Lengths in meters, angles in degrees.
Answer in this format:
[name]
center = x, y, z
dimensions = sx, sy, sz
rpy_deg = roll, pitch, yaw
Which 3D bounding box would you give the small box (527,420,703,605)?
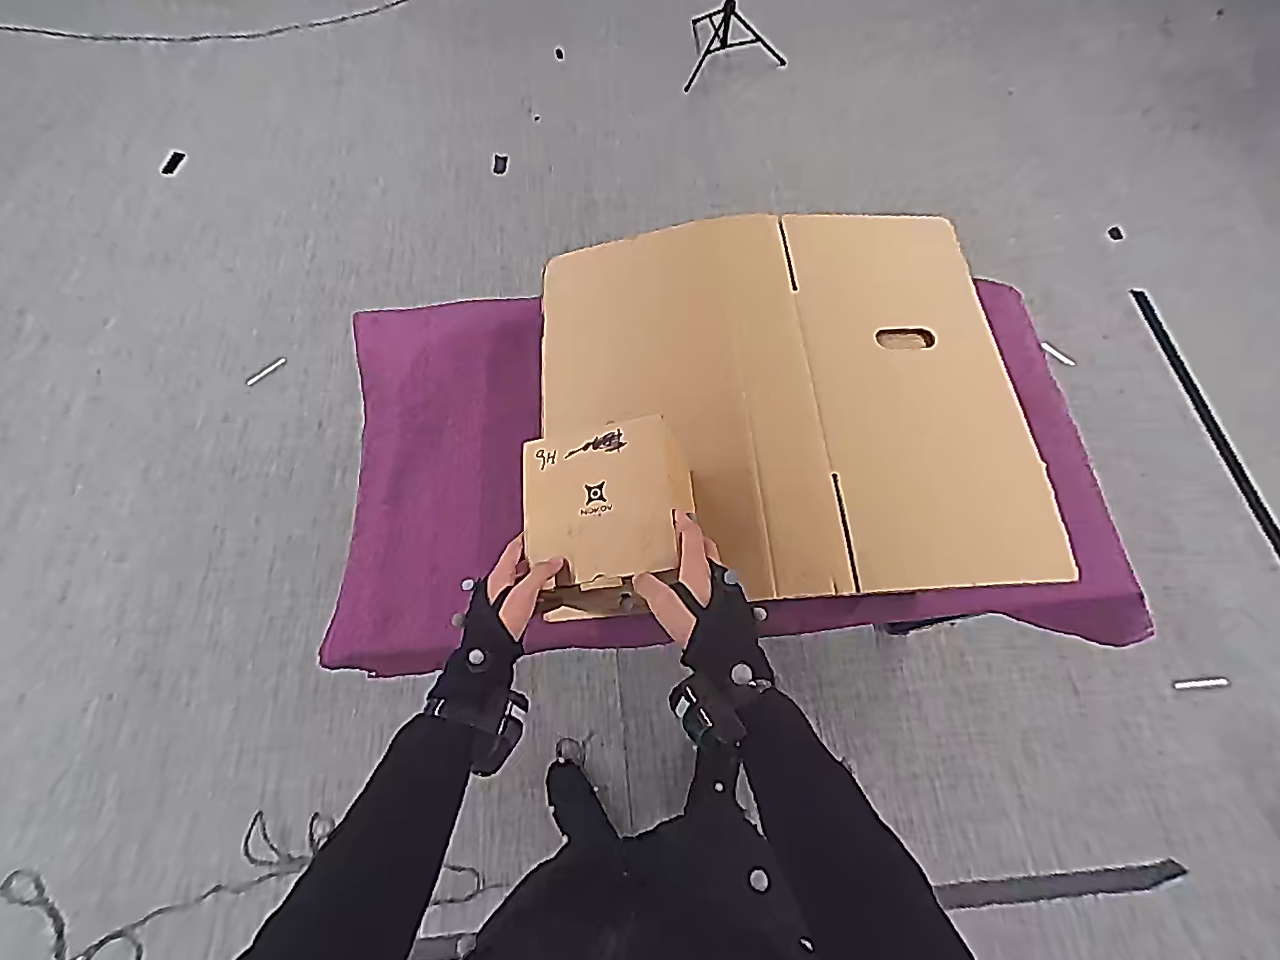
[small box]
center = -0.024, 0.052, 0.650
dimensions = 0.168, 0.176, 0.179
rpy_deg = -10, 69, 12
